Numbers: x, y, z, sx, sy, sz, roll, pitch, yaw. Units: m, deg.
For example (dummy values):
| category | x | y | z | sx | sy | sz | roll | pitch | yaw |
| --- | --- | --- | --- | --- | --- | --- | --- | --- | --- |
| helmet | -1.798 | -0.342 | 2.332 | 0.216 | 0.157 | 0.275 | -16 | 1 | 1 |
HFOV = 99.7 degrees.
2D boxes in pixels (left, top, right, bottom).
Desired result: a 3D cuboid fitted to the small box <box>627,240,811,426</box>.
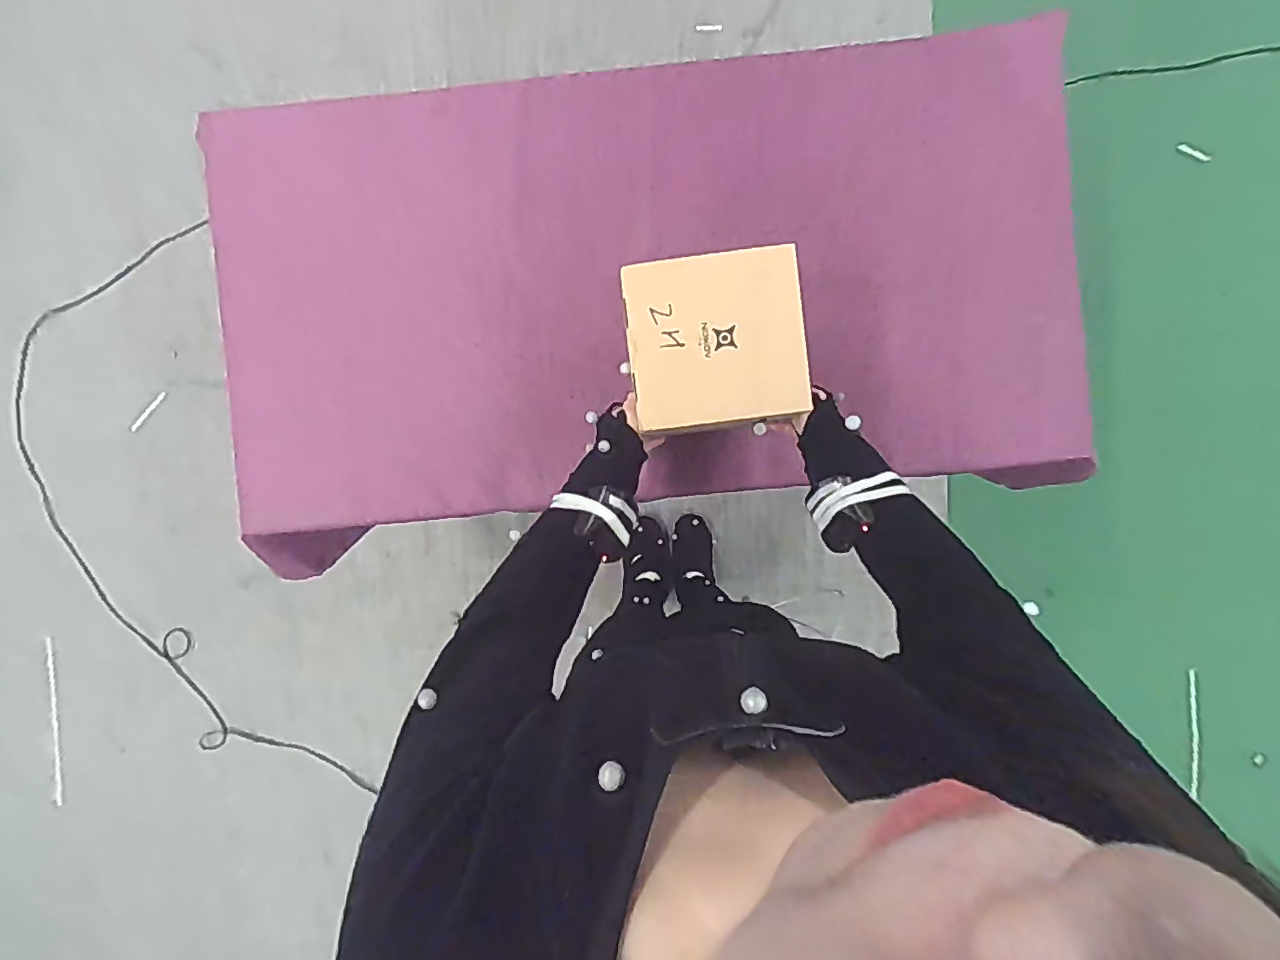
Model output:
| category | x | y | z | sx | sy | sz | roll | pitch | yaw |
| --- | --- | --- | --- | --- | --- | --- | --- | --- | --- |
| small box | 0.080 | -0.154 | 0.619 | 0.179 | 0.176 | 0.168 | -6 | 92 | 2 |
